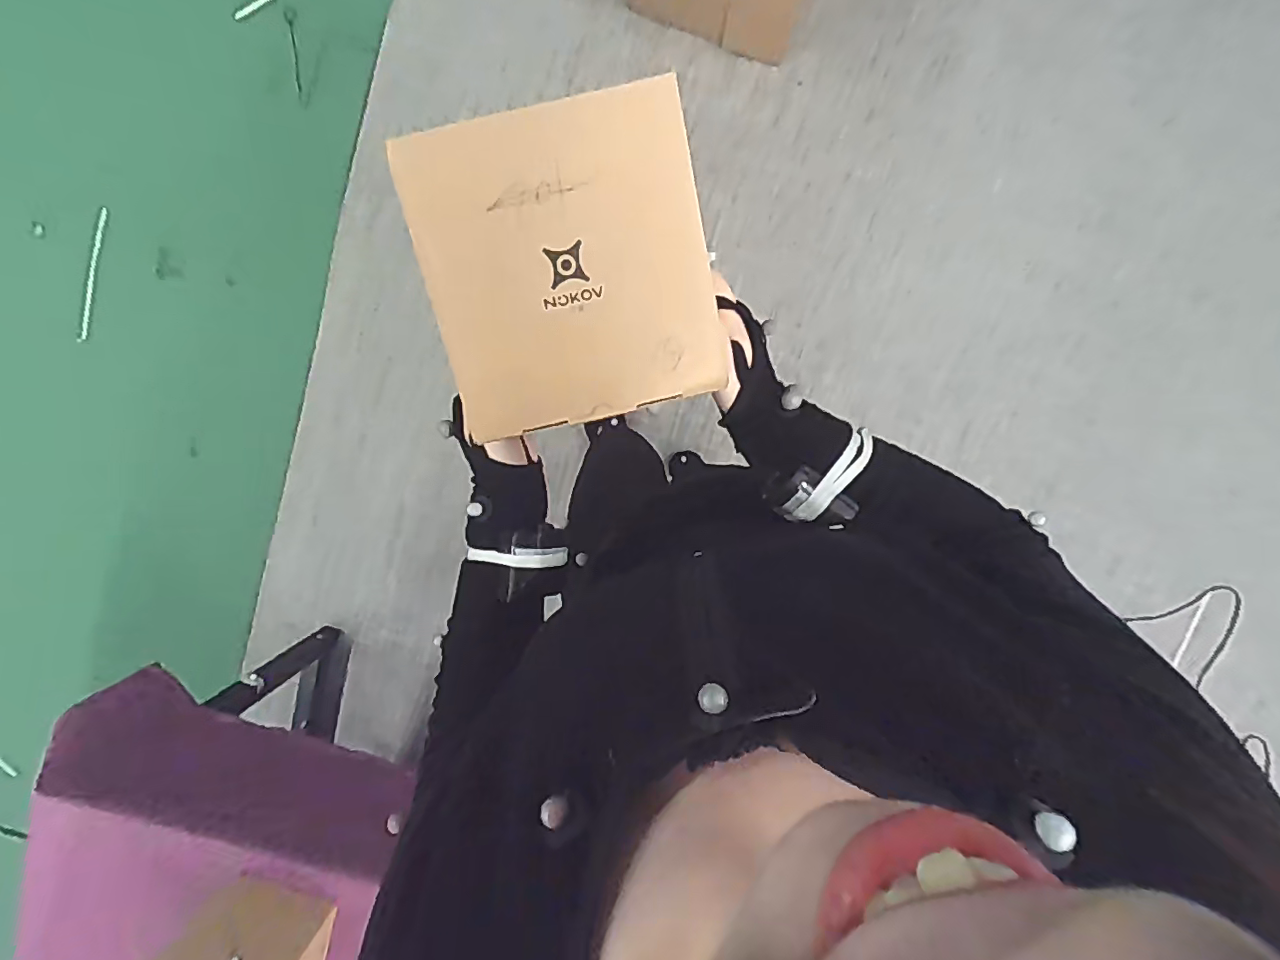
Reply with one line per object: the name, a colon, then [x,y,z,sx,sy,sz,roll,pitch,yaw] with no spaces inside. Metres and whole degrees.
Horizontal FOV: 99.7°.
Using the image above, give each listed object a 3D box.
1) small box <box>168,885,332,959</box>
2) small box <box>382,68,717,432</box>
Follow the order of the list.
small box: [-0.593,0.748,0.794,0.179,0.176,0.168,17,97,1]
small box: [-0.049,-0.146,0.394,0.168,0.176,0.179,-12,103,0]
